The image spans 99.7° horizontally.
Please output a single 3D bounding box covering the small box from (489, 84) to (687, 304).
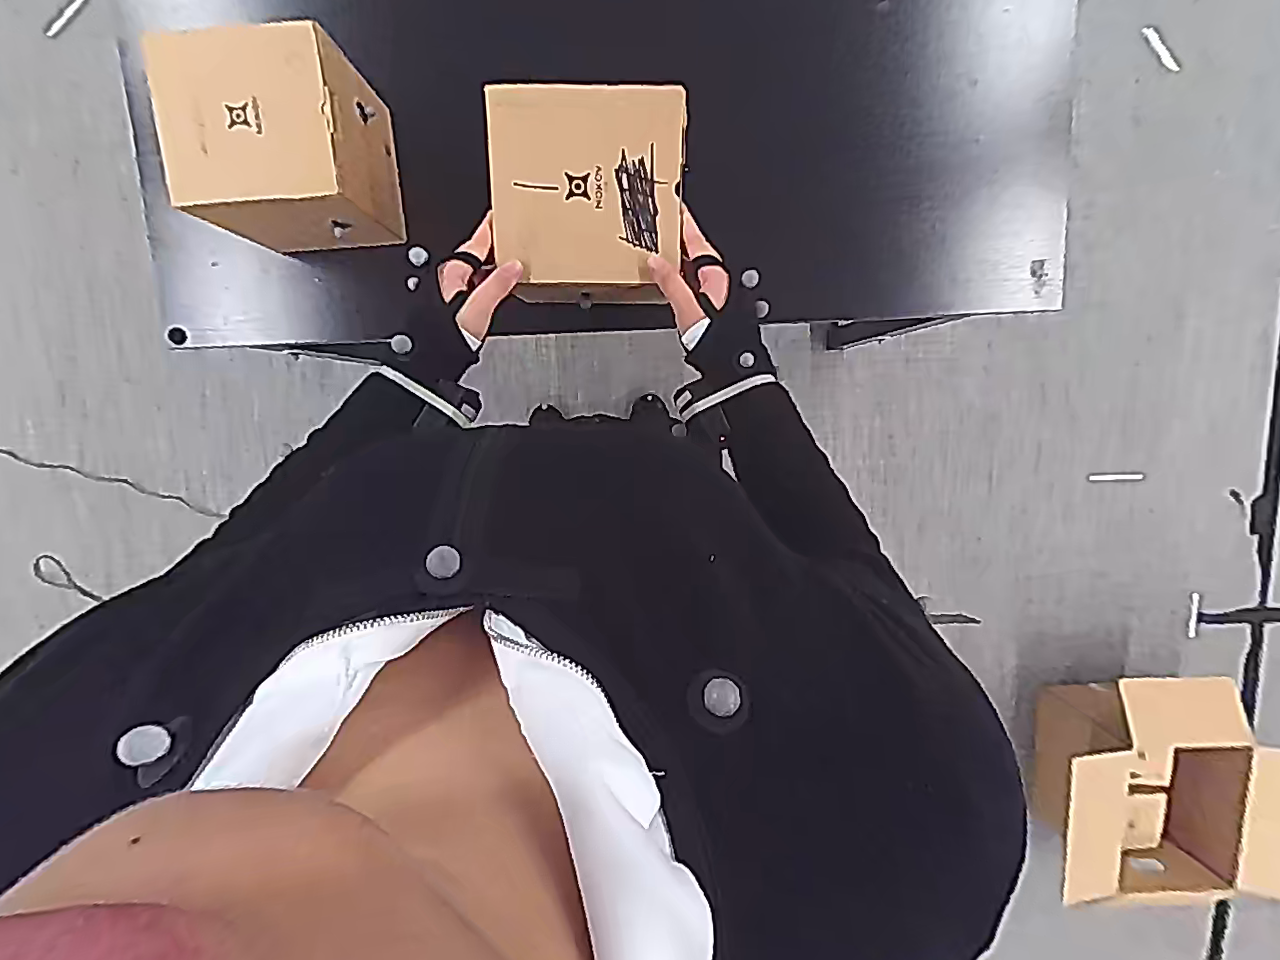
[{"bbox_3d":[-0.049,-0.280,0.566,0.179,0.176,0.168,1,102,-1],"label":"small box"}]

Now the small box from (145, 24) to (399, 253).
[{"bbox_3d":[-0.398,-0.375,0.624,0.179,0.176,0.168,-5,97,0],"label":"small box"}]
